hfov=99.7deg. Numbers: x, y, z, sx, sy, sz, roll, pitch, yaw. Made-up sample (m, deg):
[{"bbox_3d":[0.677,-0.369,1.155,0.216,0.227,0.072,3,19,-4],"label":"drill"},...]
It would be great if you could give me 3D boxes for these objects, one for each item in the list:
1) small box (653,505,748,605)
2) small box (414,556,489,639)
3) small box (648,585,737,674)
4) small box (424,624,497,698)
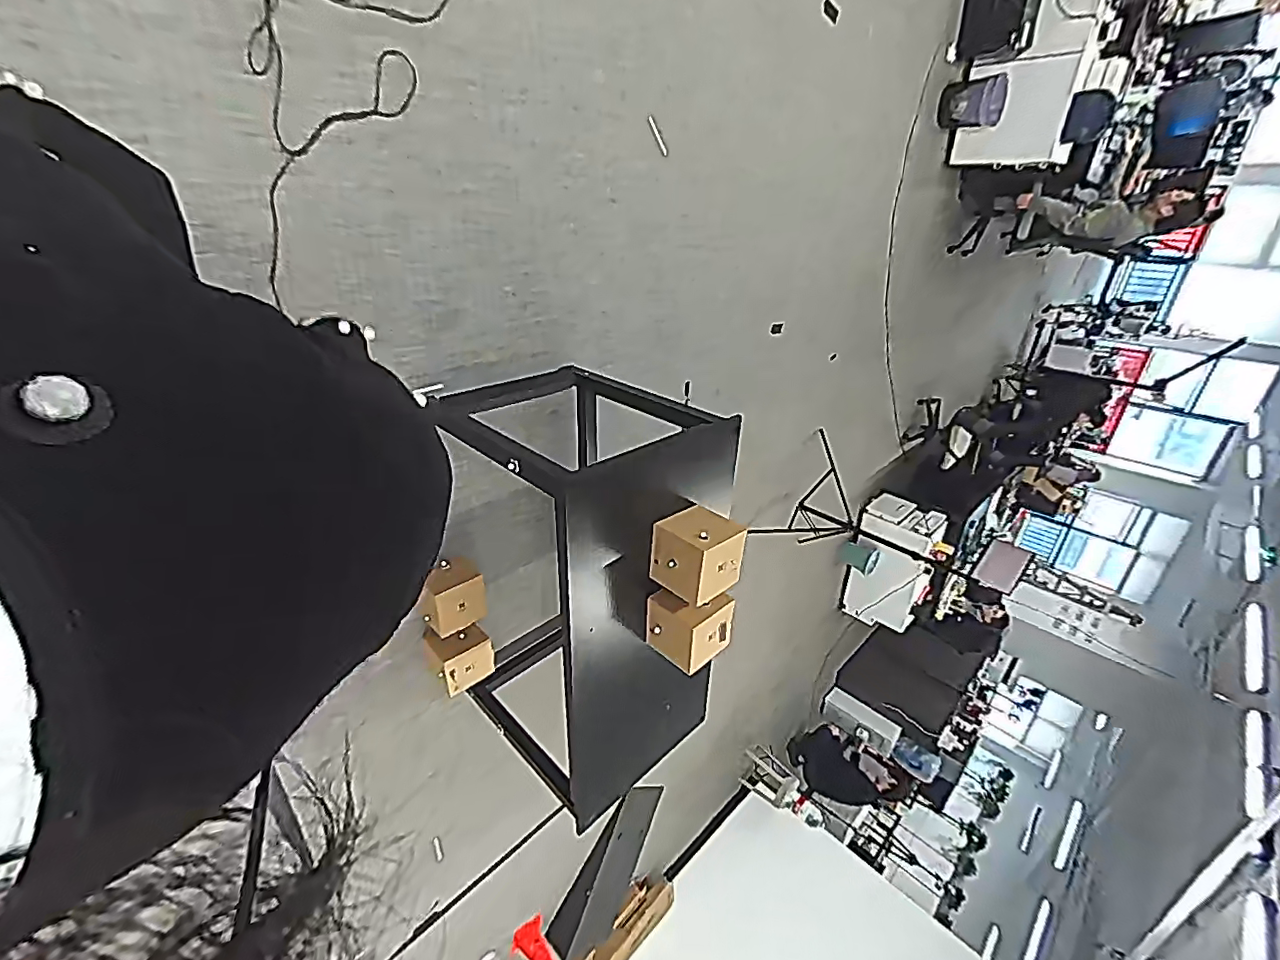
[{"bbox_3d":[0.150,0.185,1.390,0.179,0.176,0.168,-20,124,-41],"label":"small box"},{"bbox_3d":[-0.625,0.383,1.793,0.168,0.176,0.179,-24,126,-39],"label":"small box"},{"bbox_3d":[0.142,0.386,1.489,0.179,0.176,0.168,-23,126,-38],"label":"small box"},{"bbox_3d":[-0.631,0.620,1.908,0.179,0.176,0.168,-25,126,-39],"label":"small box"}]
